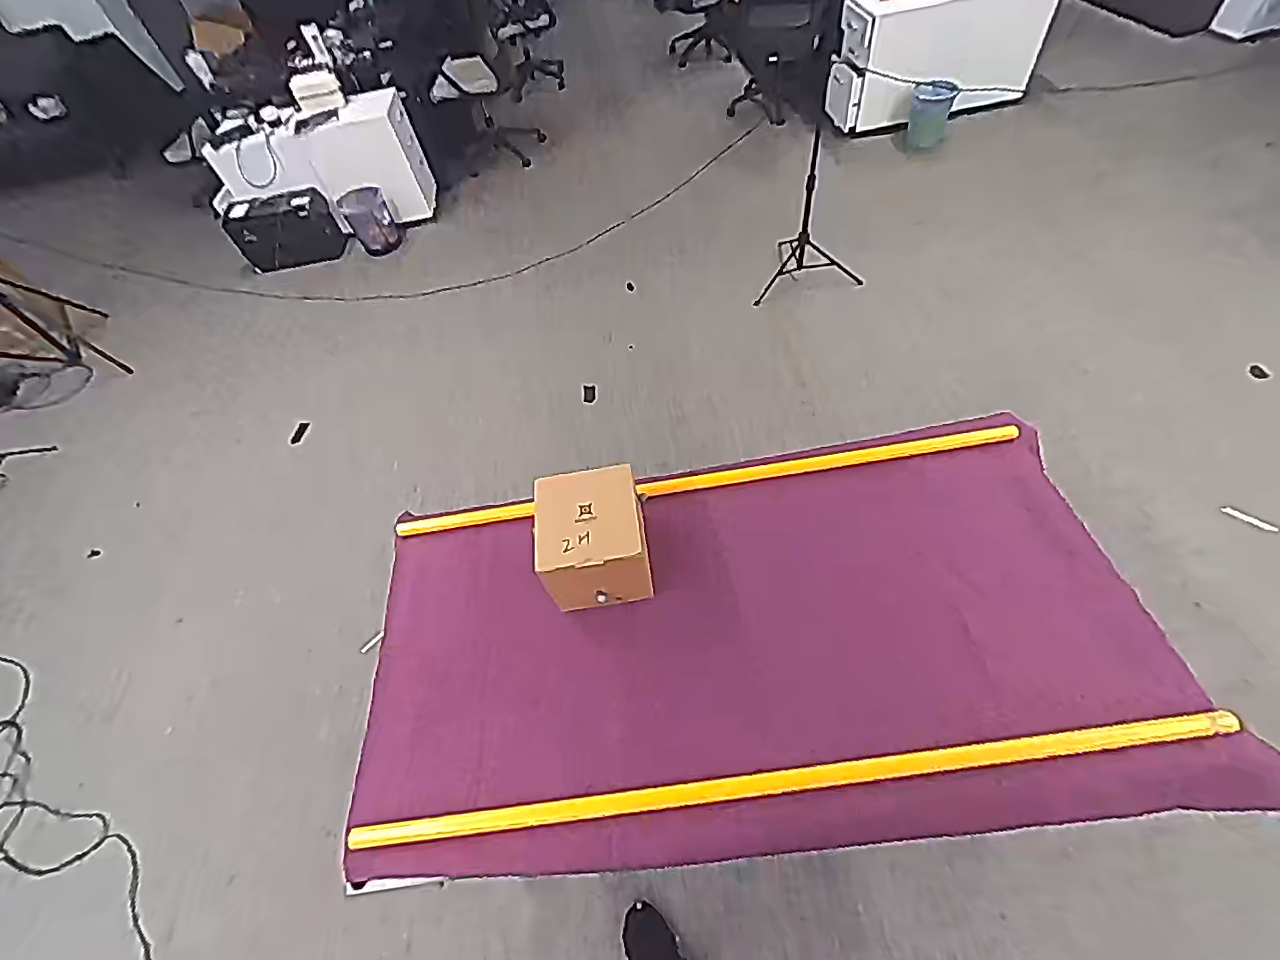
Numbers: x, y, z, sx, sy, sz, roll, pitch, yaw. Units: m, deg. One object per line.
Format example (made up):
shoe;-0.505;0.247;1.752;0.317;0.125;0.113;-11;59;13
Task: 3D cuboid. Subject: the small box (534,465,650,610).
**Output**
small box;-0.079;0.102;0.924;0.168;0.176;0.179;-10;55;2
